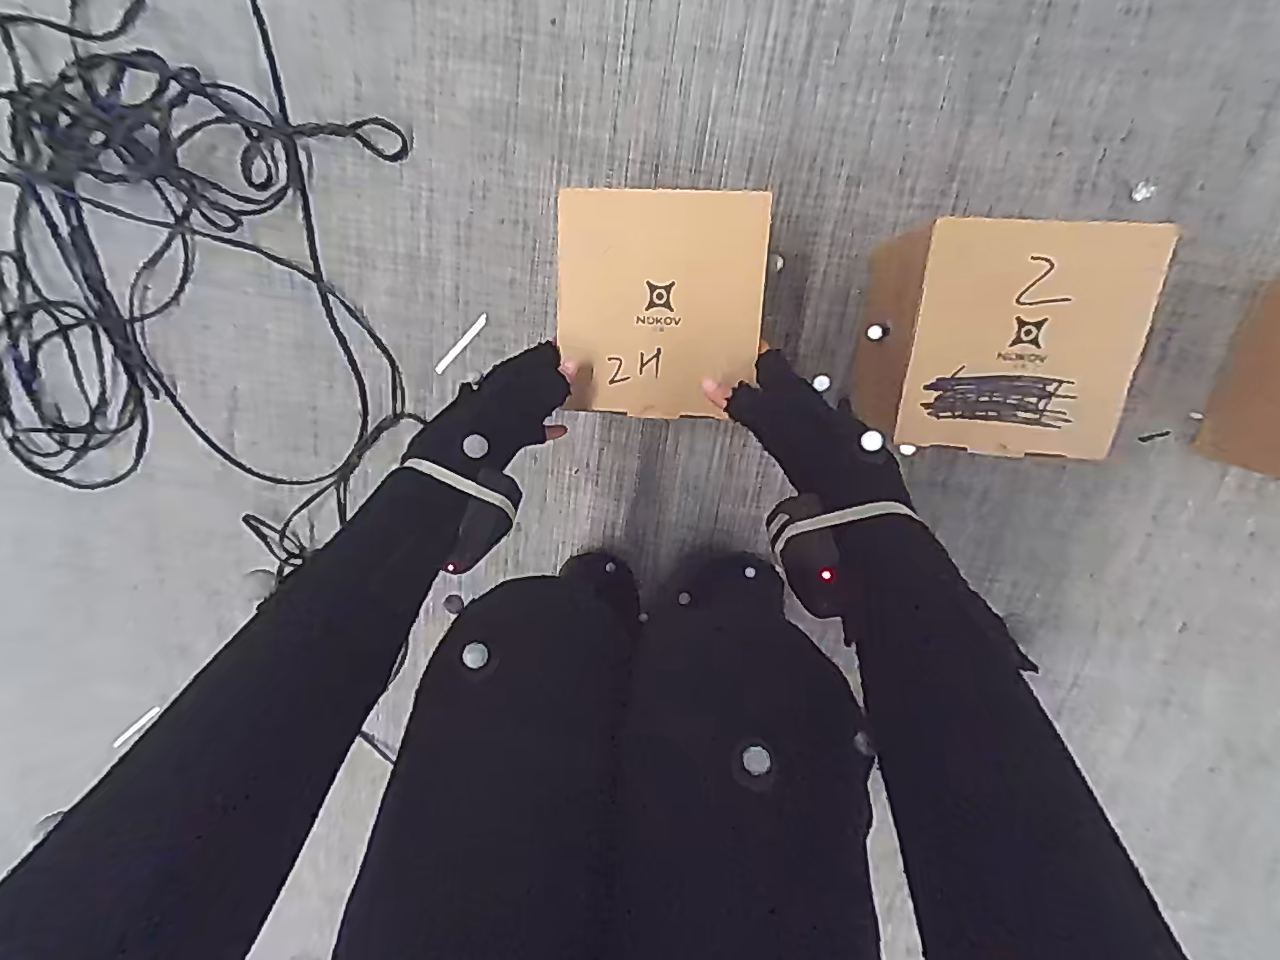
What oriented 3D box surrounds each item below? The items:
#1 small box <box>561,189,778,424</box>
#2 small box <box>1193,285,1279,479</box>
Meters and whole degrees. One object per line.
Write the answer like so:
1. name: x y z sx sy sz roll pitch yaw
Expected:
1. small box: 0.026 -0.153 0.509 0.168 0.176 0.179 4 103 5
2. small box: 0.654 -0.075 0.467 0.168 0.176 0.179 7 109 7
